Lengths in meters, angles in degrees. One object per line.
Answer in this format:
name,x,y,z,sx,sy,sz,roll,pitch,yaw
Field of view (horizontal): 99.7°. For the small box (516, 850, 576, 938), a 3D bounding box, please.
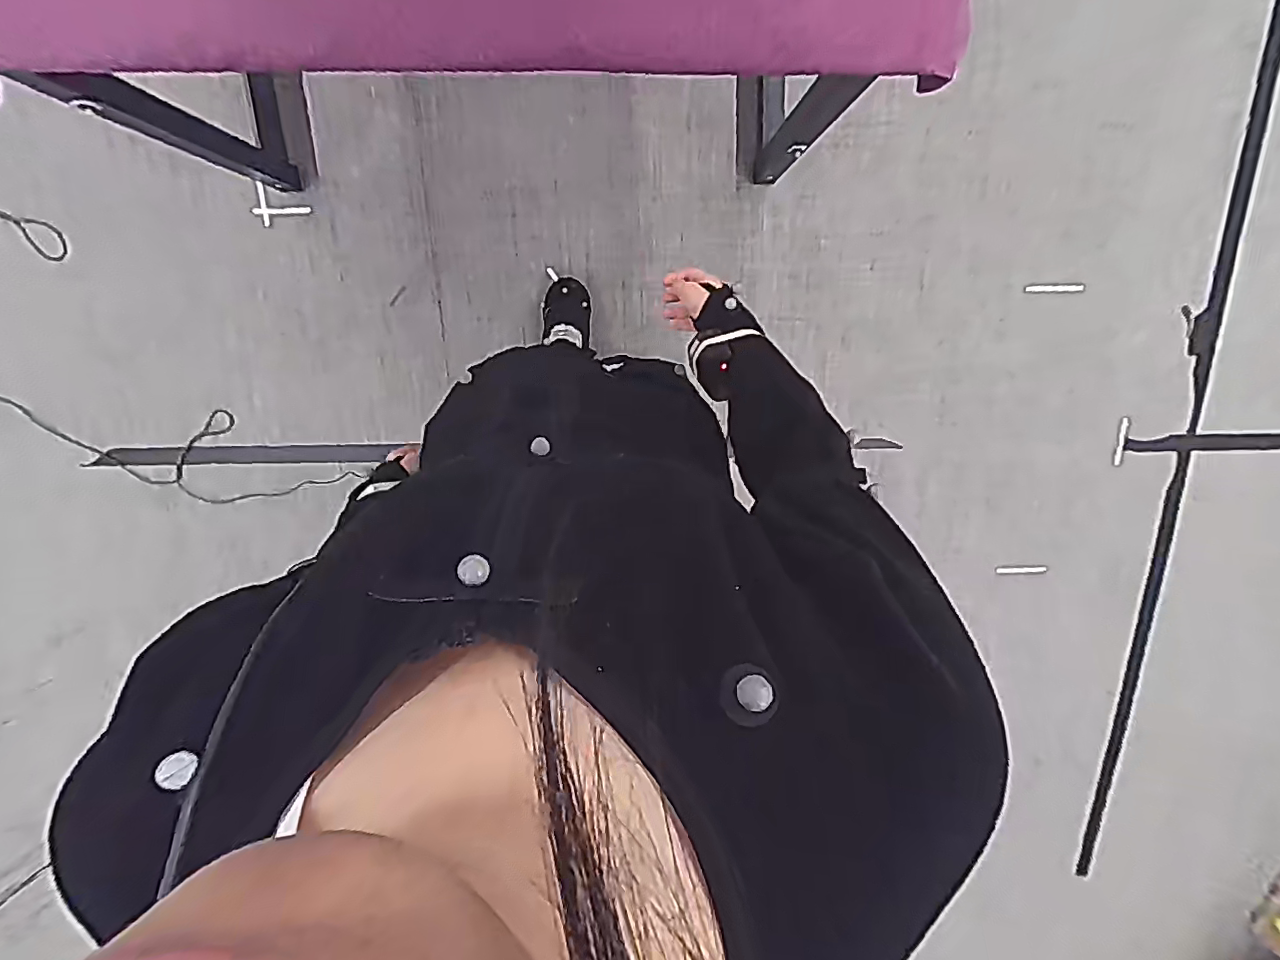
small box,-0.303,1.345,1.768,0.168,0.176,0.179,-2,106,0
